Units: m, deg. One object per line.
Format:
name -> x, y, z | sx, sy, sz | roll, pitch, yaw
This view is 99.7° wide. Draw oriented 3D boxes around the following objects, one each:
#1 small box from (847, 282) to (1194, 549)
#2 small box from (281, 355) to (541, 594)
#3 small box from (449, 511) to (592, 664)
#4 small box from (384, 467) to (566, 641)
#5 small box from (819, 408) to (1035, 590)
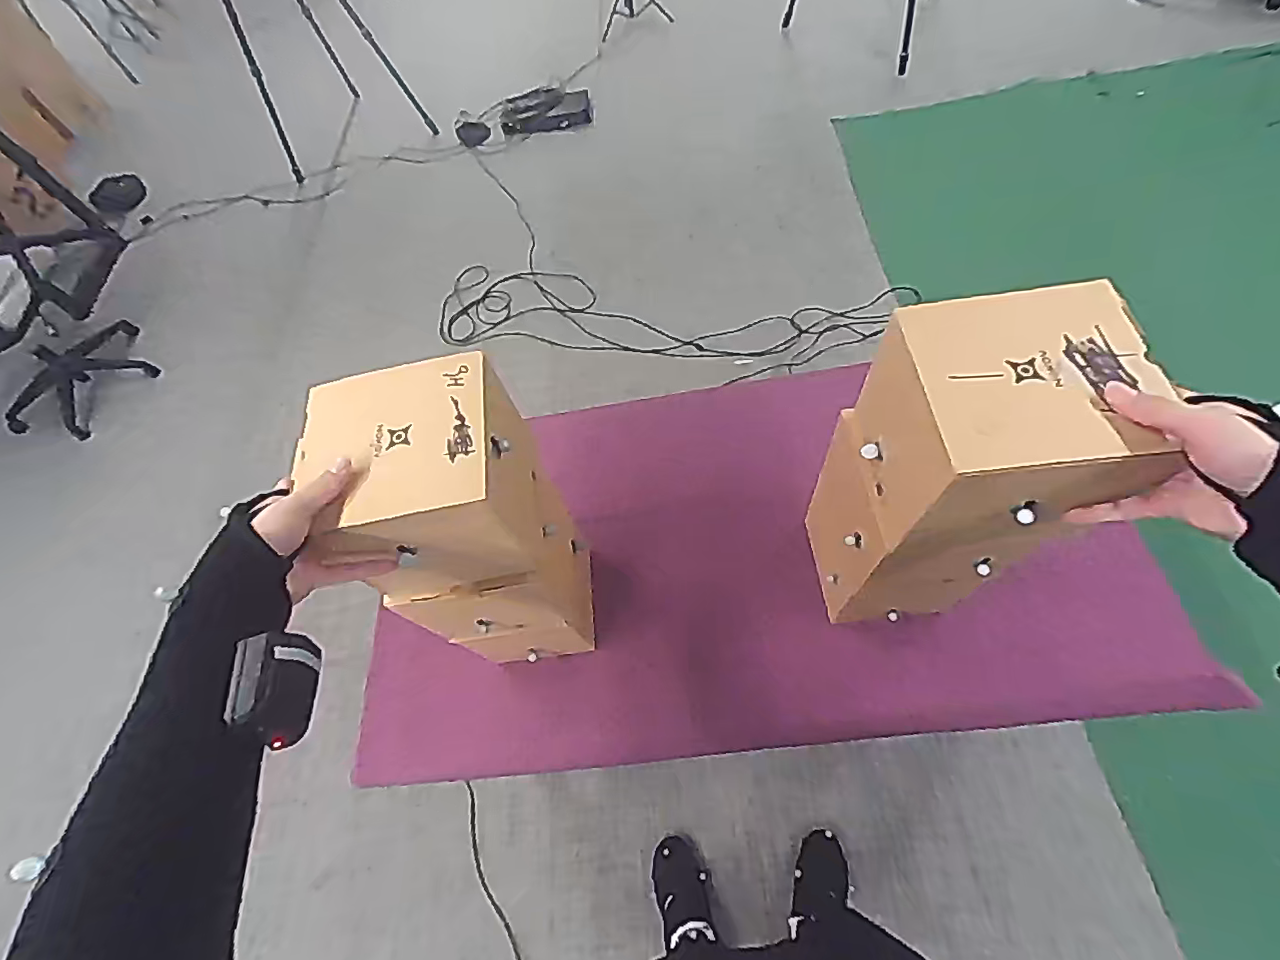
small box -> 0.307, -0.047, 0.489 | 0.179, 0.176, 0.168 | -7, 61, 6
small box -> -0.214, 0.005, 0.553 | 0.179, 0.176, 0.168 | -12, 61, 4
small box -> -0.173, 0.170, 0.831 | 0.168, 0.176, 0.179 | -9, 60, 5
small box -> -0.196, 0.091, 0.691 | 0.168, 0.176, 0.179 | -10, 60, 4
small box -> 0.321, 0.022, 0.637 | 0.168, 0.176, 0.179 | -9, 61, 5
